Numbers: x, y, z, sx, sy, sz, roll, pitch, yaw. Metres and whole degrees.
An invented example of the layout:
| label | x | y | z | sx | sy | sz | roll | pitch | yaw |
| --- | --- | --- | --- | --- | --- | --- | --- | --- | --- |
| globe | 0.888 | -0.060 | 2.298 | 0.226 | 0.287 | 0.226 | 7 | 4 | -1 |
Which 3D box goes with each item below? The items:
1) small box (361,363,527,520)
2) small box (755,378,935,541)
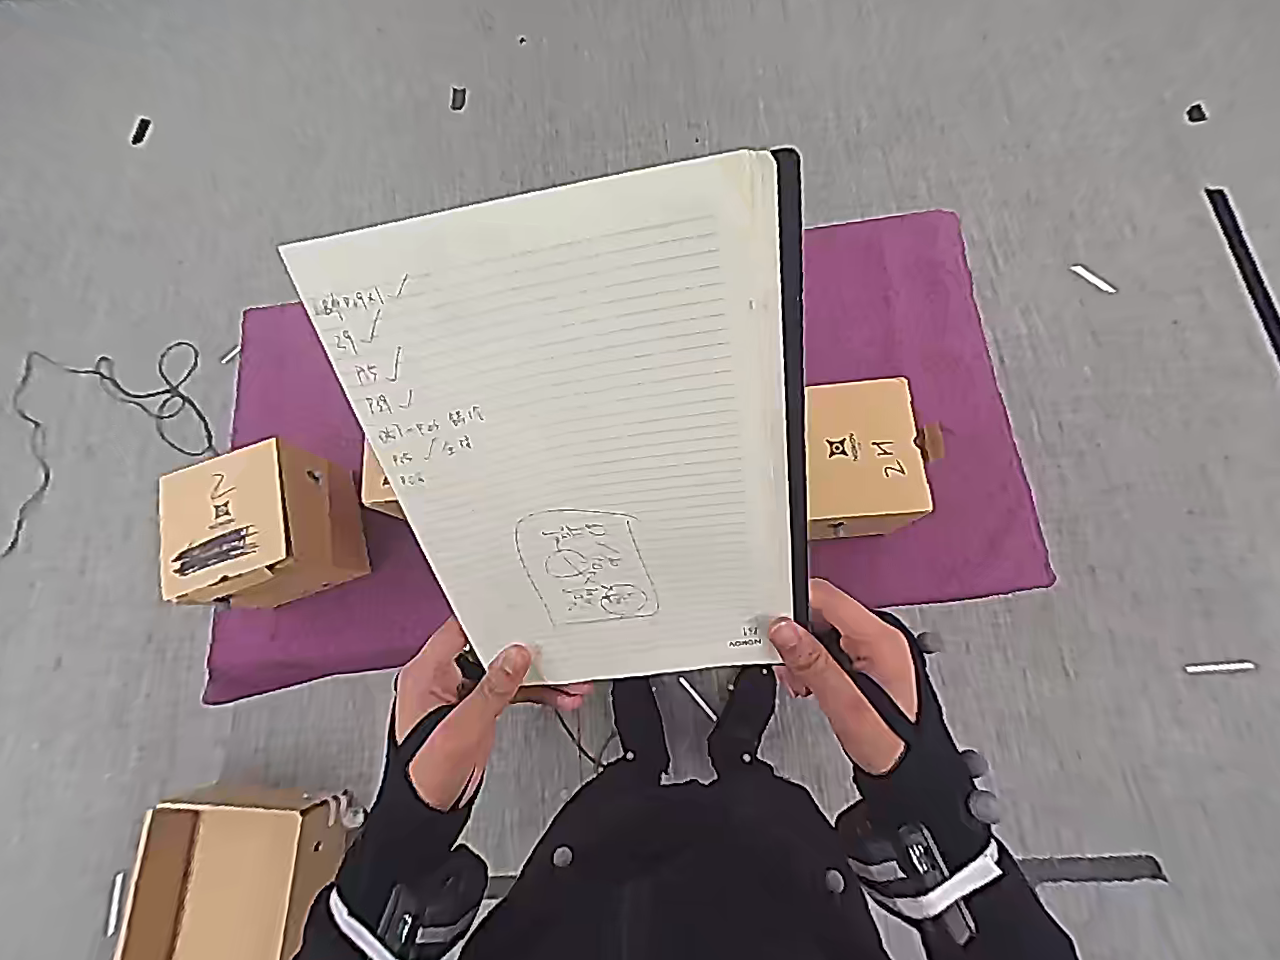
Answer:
| label | x | y | z | sx | sy | sz | roll | pitch | yaw |
| --- | --- | --- | --- | --- | --- | --- | --- | --- | --- |
| small box | -0.263 | -0.043 | 0.762 | 0.168 | 0.176 | 0.179 | -5 | 74 | 4 |
| small box | 0.247 | -0.016 | 0.702 | 0.179 | 0.176 | 0.168 | -4 | 75 | 5 |
